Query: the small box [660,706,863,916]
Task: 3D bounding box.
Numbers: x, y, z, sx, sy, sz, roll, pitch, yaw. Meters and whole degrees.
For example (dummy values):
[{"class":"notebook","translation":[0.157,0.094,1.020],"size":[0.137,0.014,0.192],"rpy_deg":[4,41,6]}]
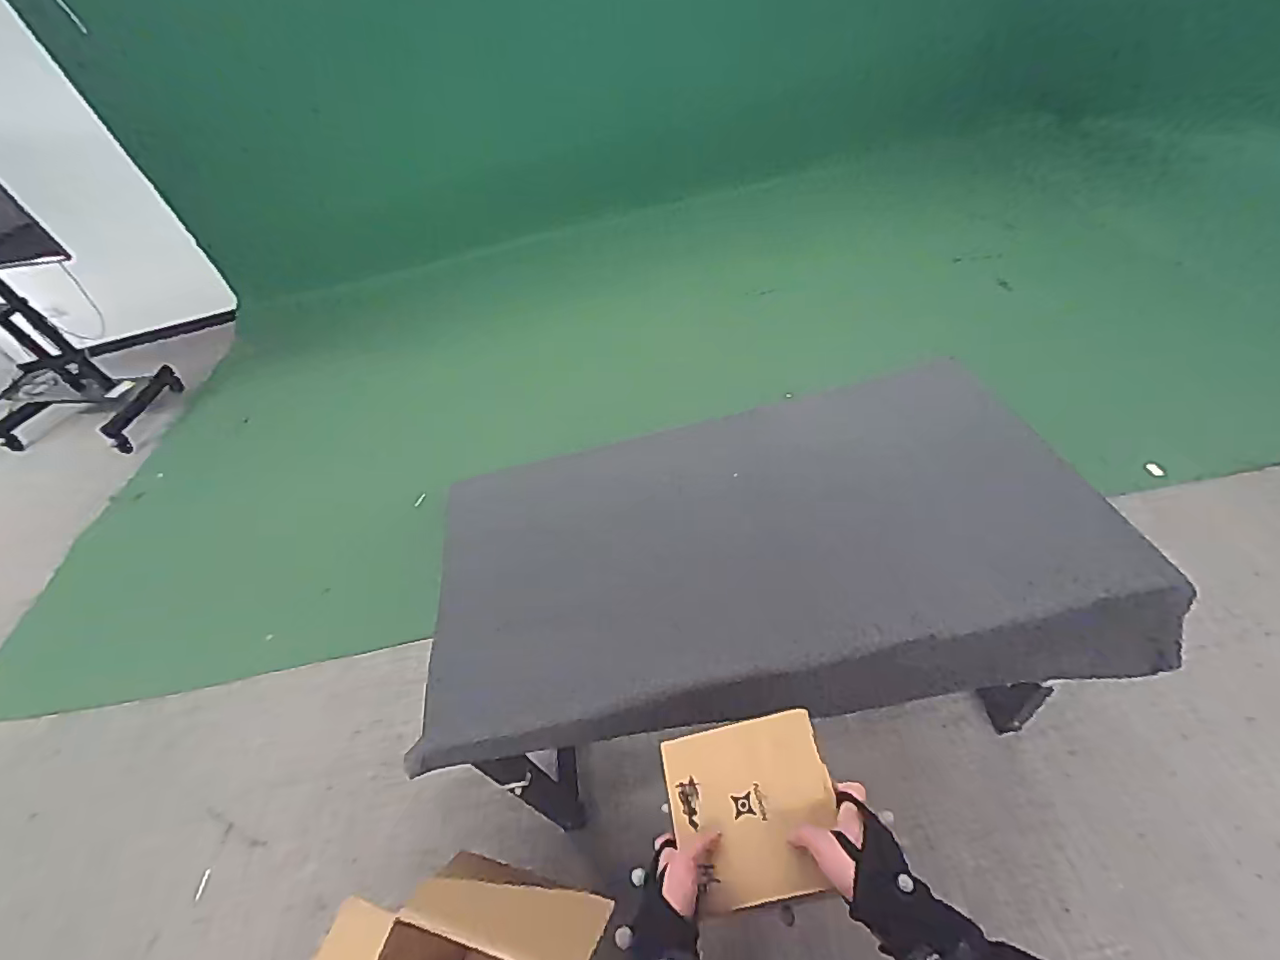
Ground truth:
[{"class":"small box","translation":[0.136,0.386,0.627],"size":[0.179,0.176,0.168],"rpy_deg":[-16,48,5]}]
